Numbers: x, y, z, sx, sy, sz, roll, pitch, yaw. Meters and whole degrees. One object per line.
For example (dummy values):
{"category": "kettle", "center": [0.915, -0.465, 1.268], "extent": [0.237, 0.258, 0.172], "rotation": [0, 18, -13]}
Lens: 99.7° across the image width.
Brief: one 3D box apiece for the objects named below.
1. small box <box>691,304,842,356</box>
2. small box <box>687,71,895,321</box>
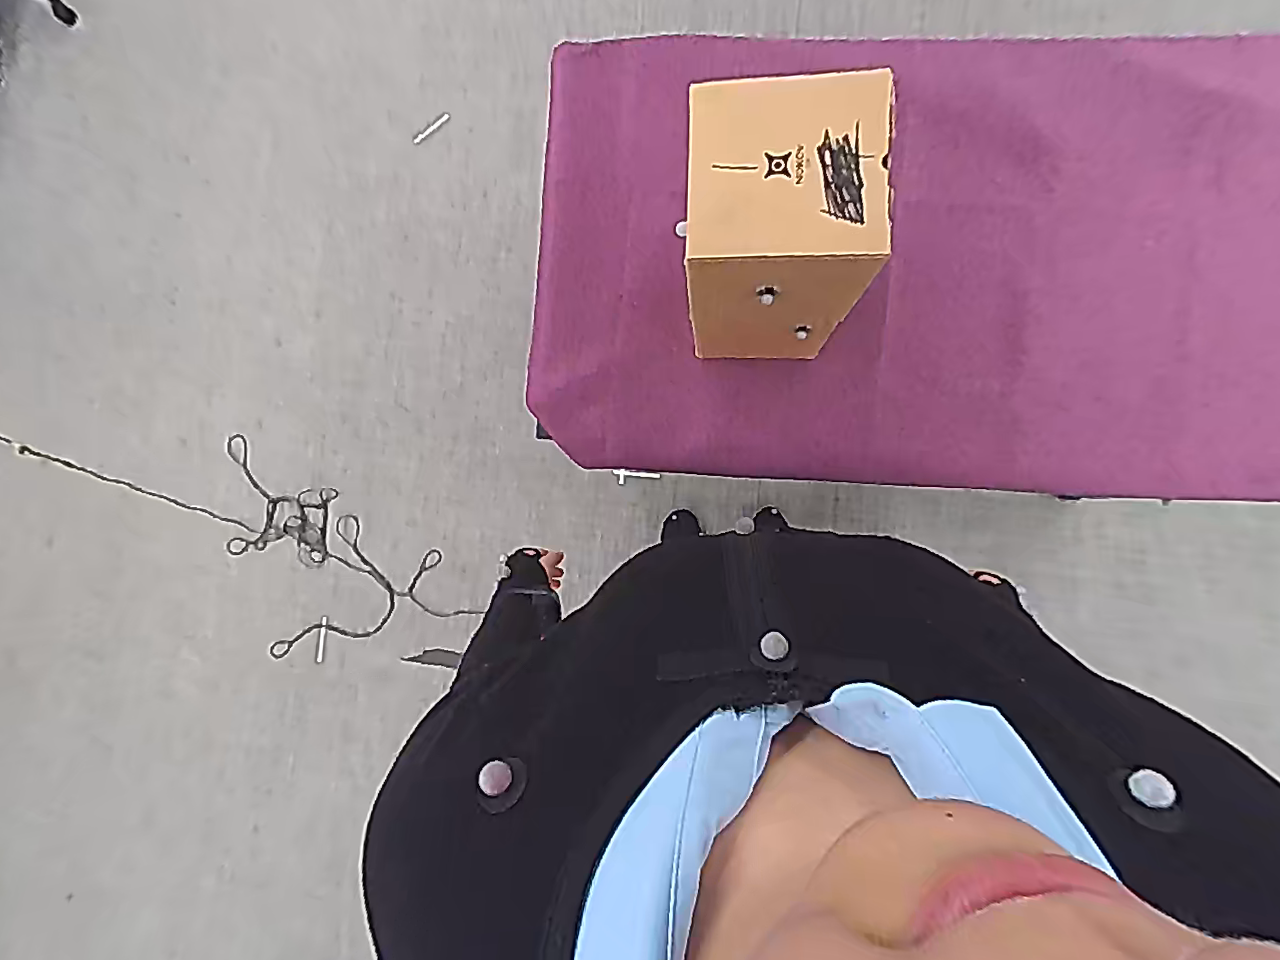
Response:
{"category": "small box", "center": [0.161, -0.267, 0.716], "extent": [0.179, 0.176, 0.168], "rotation": [2, 87, 7]}
{"category": "small box", "center": [0.141, -0.271, 0.553], "extent": [0.179, 0.176, 0.168], "rotation": [2, 87, 8]}
